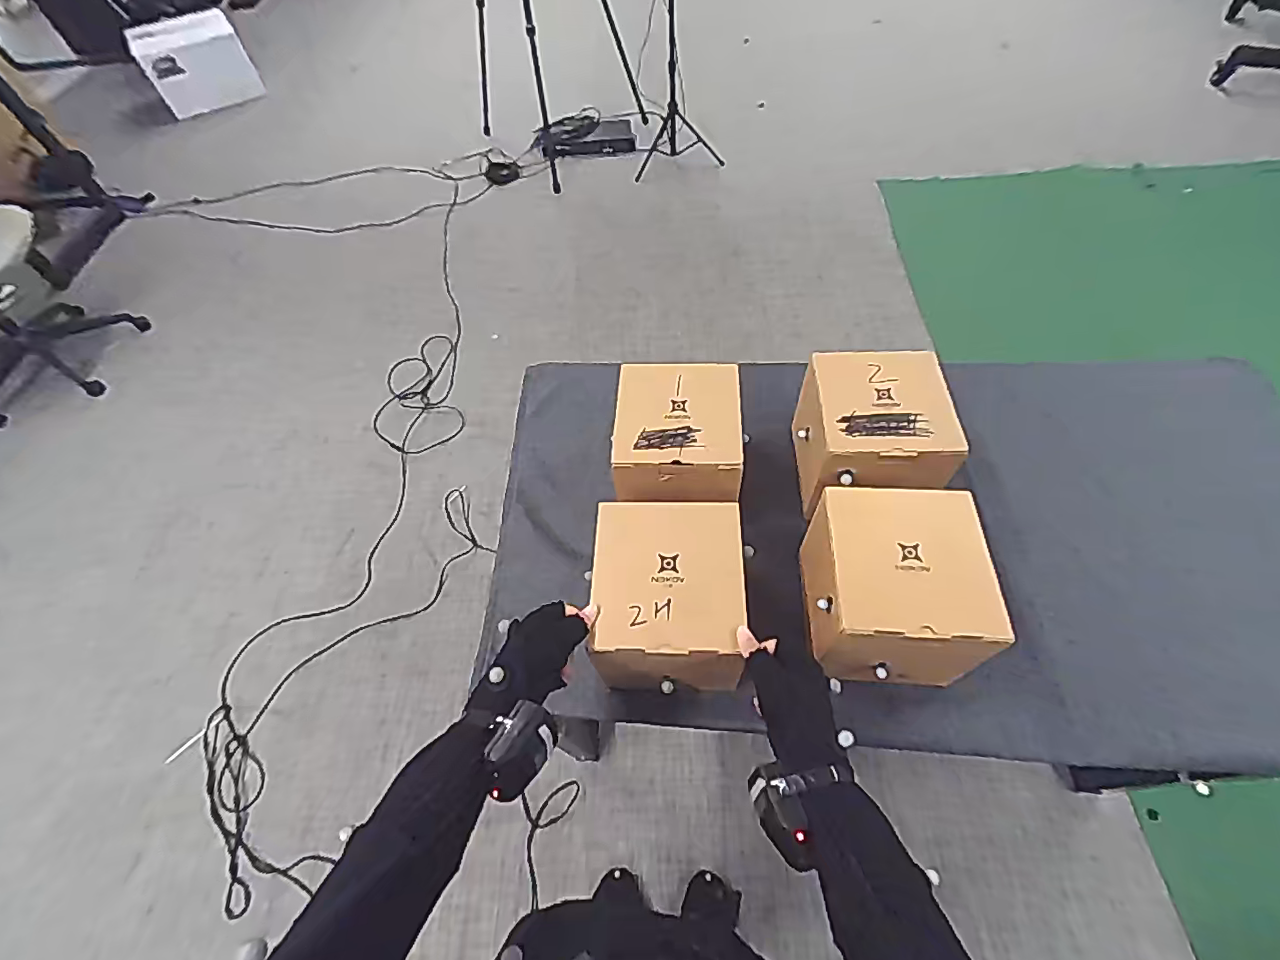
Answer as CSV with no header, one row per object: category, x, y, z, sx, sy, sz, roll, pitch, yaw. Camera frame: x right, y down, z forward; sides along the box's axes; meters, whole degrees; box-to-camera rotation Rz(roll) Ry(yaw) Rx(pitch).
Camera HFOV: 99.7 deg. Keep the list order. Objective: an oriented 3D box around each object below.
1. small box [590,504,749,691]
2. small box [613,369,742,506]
small box,0.038,0.145,0.660,0.168,0.176,0.179,0,57,4
small box,0.058,-0.040,0.783,0.168,0.176,0.179,1,56,5
